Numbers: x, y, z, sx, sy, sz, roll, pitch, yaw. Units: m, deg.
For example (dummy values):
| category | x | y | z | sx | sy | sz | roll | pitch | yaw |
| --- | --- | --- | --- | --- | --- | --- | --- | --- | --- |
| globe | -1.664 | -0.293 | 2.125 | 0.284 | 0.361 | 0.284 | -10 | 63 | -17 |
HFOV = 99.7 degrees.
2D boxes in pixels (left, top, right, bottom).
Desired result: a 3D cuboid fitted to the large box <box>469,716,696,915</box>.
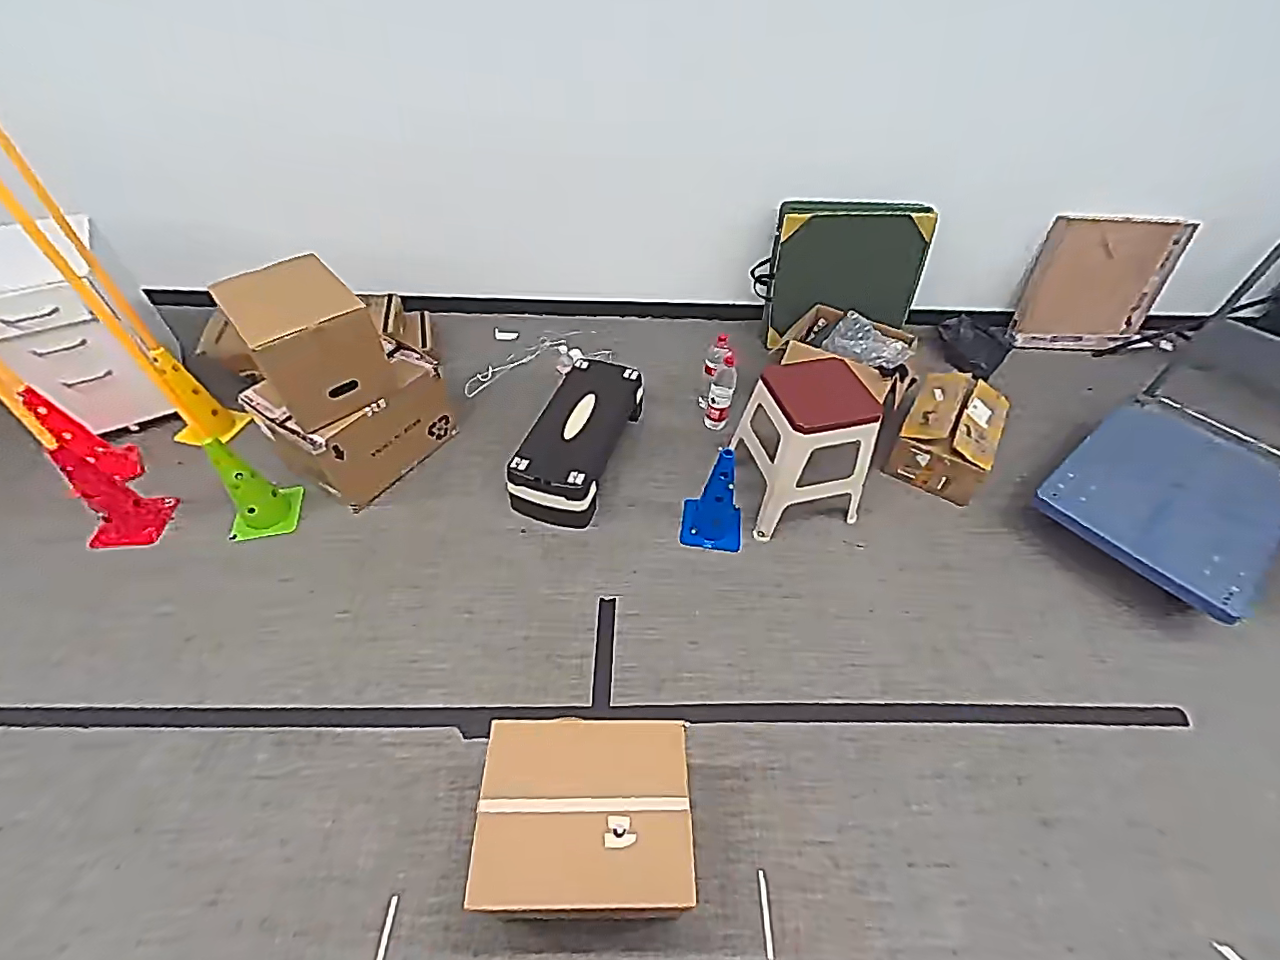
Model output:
| category | x | y | z | sx | sy | sz | roll | pitch | yaw |
| --- | --- | --- | --- | --- | --- | --- | --- | --- | --- |
| large box | -0.112 | 0.713 | 1.149 | 0.408 | 0.320 | 0.320 | 2 | 49 | -3 |
